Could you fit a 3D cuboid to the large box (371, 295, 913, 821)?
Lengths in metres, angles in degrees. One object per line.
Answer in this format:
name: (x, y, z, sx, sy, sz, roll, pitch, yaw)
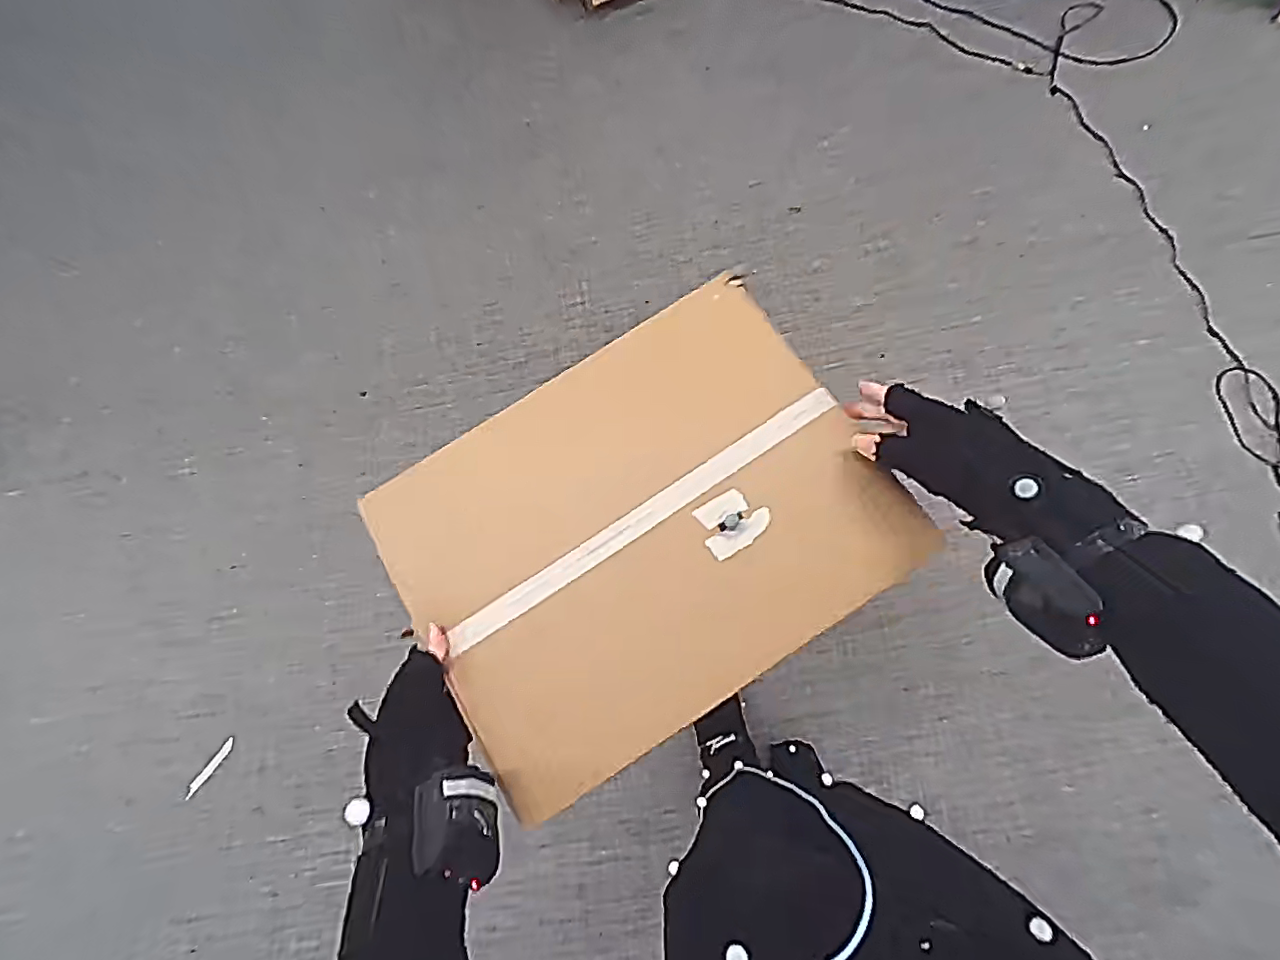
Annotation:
large box: (0.002, 0.083, 0.627, 0.408, 0.320, 0.320, -35, 76, -6)
